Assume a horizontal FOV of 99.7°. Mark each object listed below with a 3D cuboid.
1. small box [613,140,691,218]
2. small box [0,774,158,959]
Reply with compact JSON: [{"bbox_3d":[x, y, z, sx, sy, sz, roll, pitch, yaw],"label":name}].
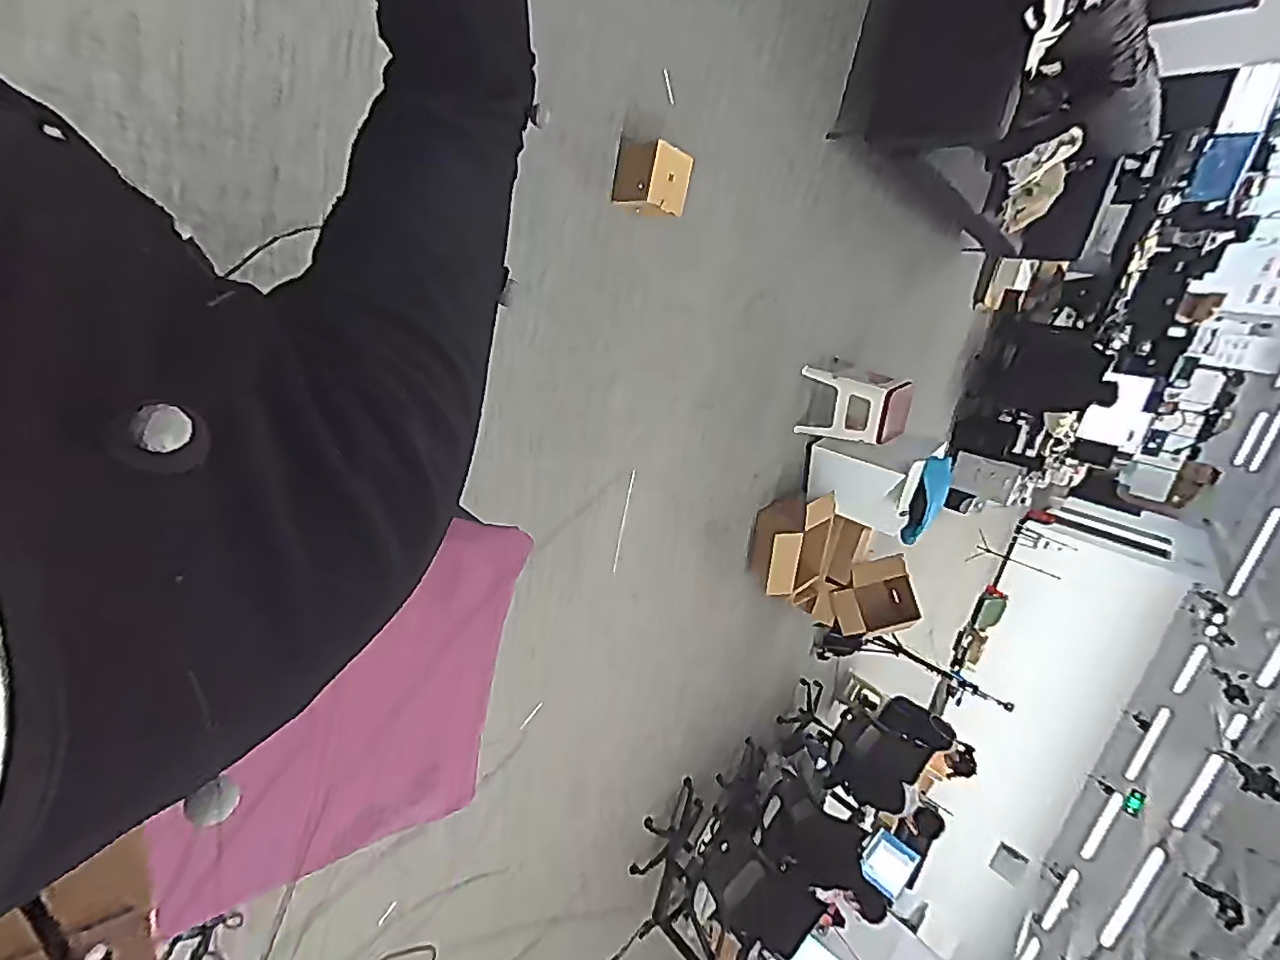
[{"bbox_3d":[0.033,-0.953,1.723,0.168,0.176,0.179,-4,112,-45],"label":"small box"},{"bbox_3d":[-0.520,0.391,0.444,0.168,0.176,0.179,1,109,-48],"label":"small box"}]
